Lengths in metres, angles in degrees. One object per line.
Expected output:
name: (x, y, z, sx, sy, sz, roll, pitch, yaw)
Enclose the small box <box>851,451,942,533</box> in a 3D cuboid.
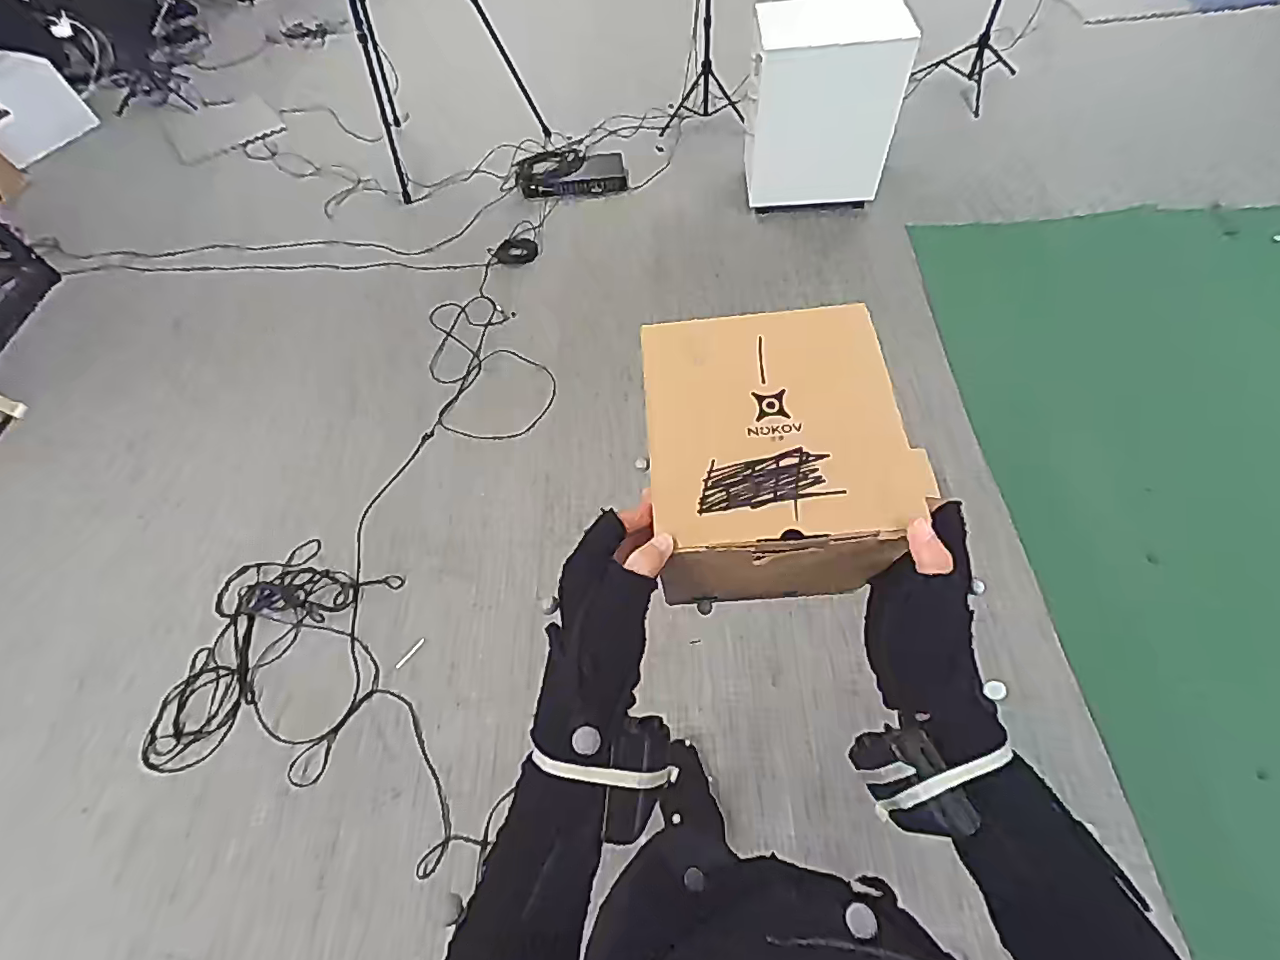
small box: (0.699, 0.039, 1.492, 0.168, 0.176, 0.179, -2, 58, 4)
